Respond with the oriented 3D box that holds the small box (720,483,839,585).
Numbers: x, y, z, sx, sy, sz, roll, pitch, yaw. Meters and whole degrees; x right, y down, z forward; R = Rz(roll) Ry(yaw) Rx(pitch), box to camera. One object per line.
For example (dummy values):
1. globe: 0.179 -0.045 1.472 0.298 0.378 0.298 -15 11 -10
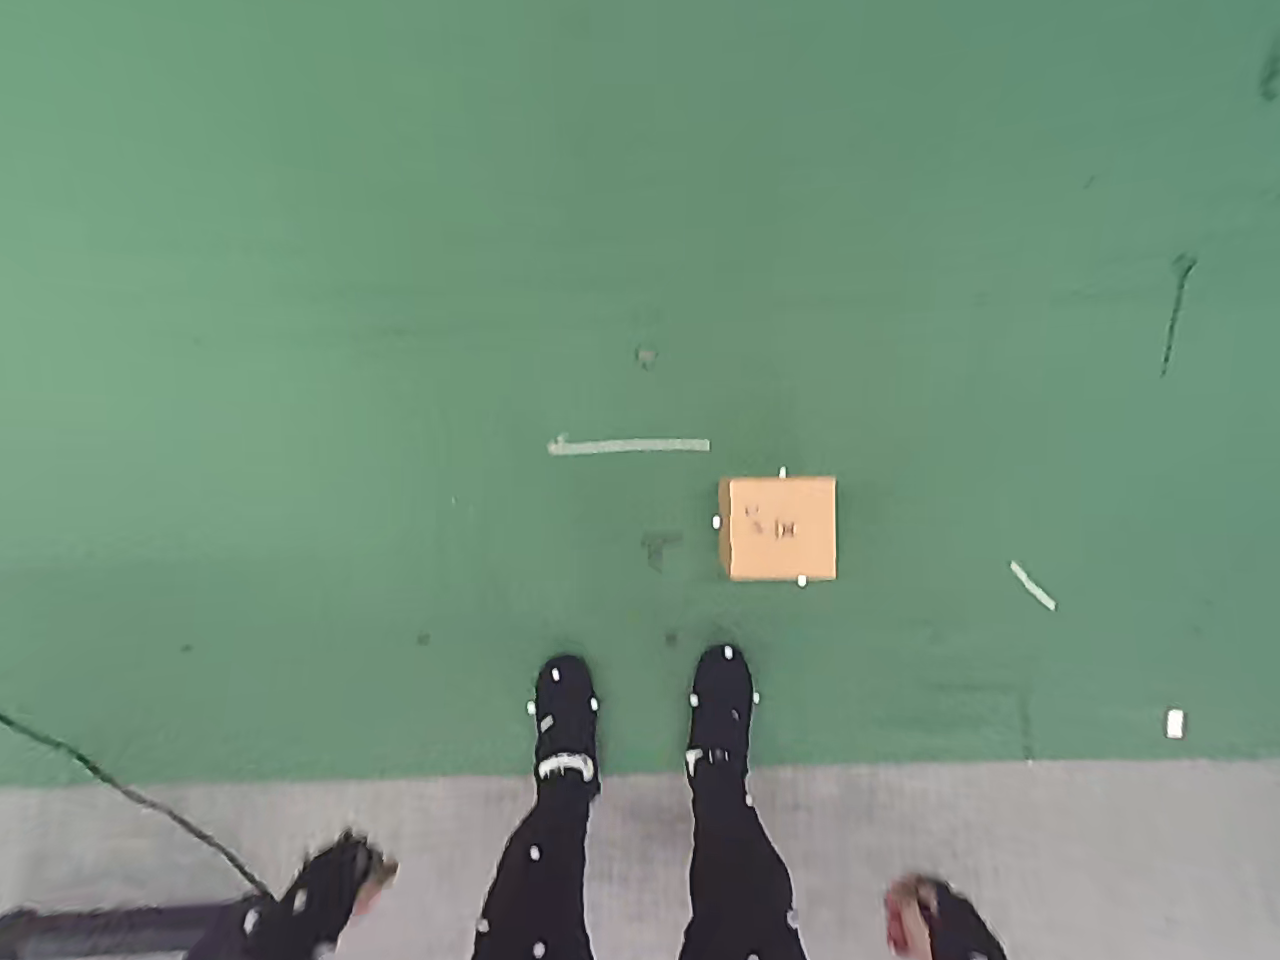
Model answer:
1. small box: 0.242 0.090 0.971 0.179 0.176 0.168 -1 90 2
